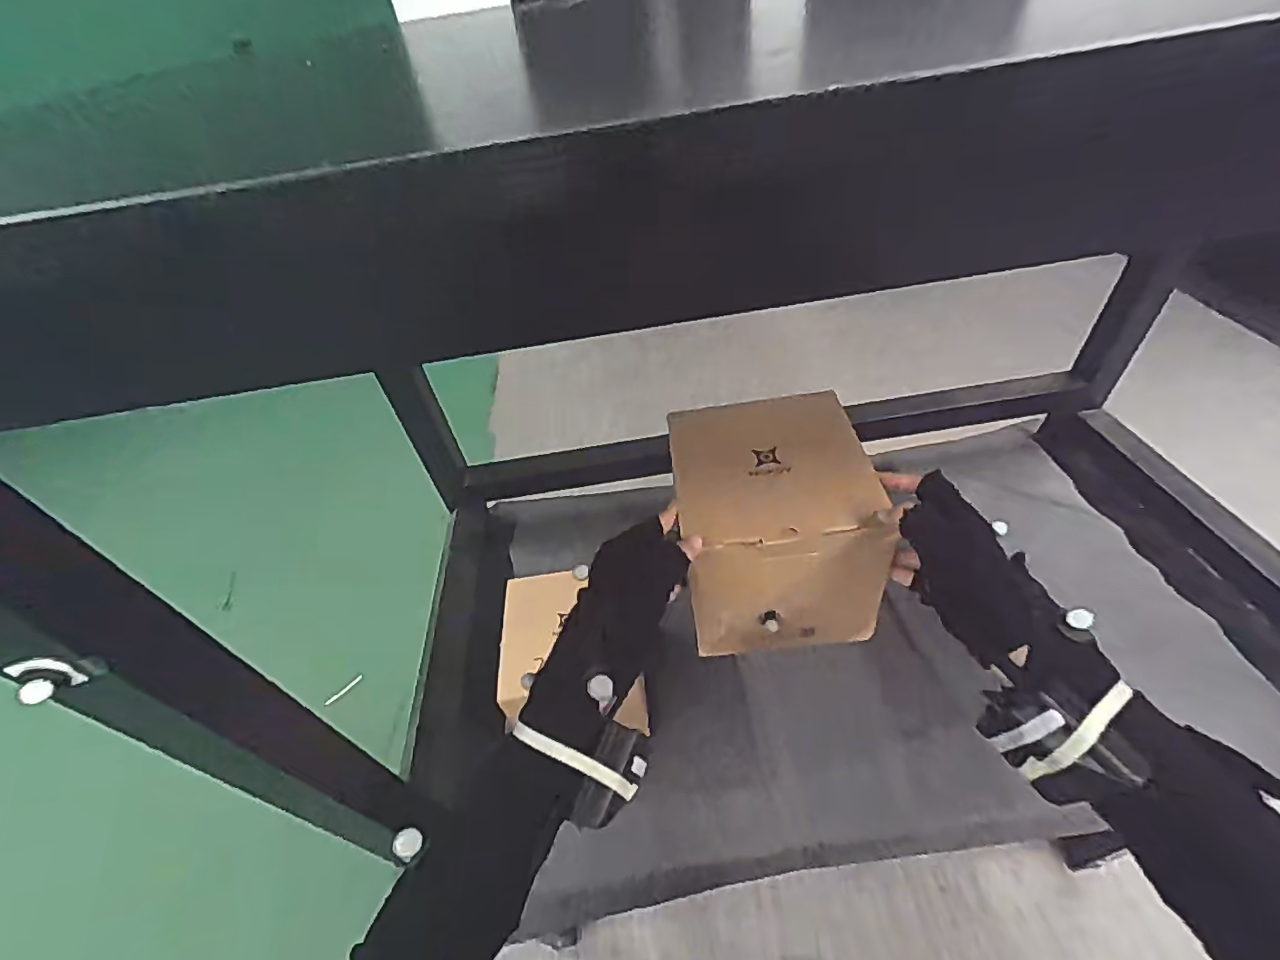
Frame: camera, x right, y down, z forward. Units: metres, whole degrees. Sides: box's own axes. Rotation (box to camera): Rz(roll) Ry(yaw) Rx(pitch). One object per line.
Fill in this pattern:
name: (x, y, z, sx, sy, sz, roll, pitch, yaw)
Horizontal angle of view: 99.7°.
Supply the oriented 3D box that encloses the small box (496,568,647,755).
small box: (-0.086, 0.248, 0.743, 0.168, 0.176, 0.179, -9, 44, 1)
